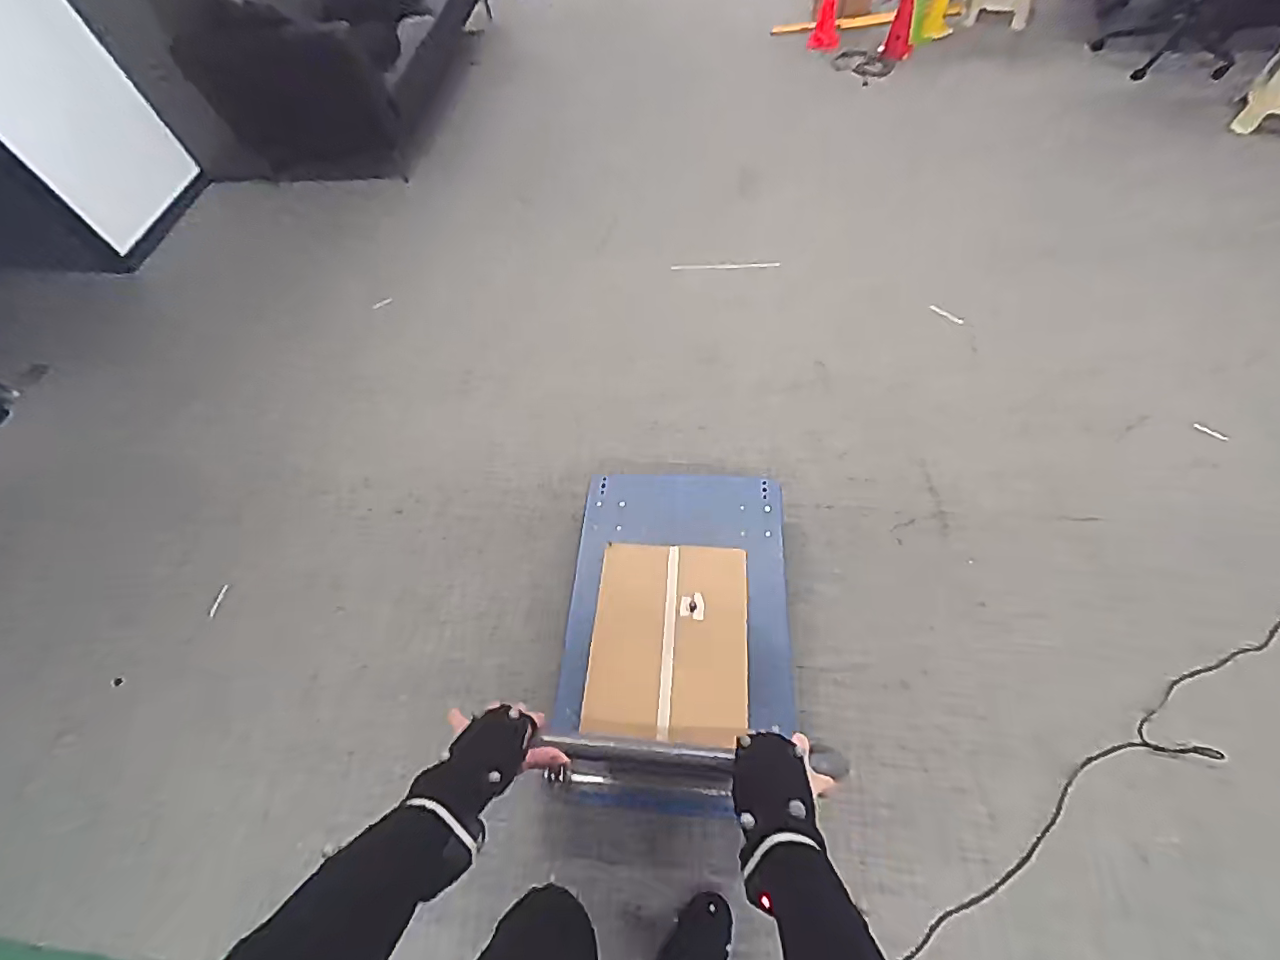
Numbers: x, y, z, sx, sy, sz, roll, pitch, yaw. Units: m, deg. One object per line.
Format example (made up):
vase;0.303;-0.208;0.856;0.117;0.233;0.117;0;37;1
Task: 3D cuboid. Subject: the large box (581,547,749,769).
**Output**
large box;0.072;0.400;1.210;0.320;0.320;0.408;2;57;8
